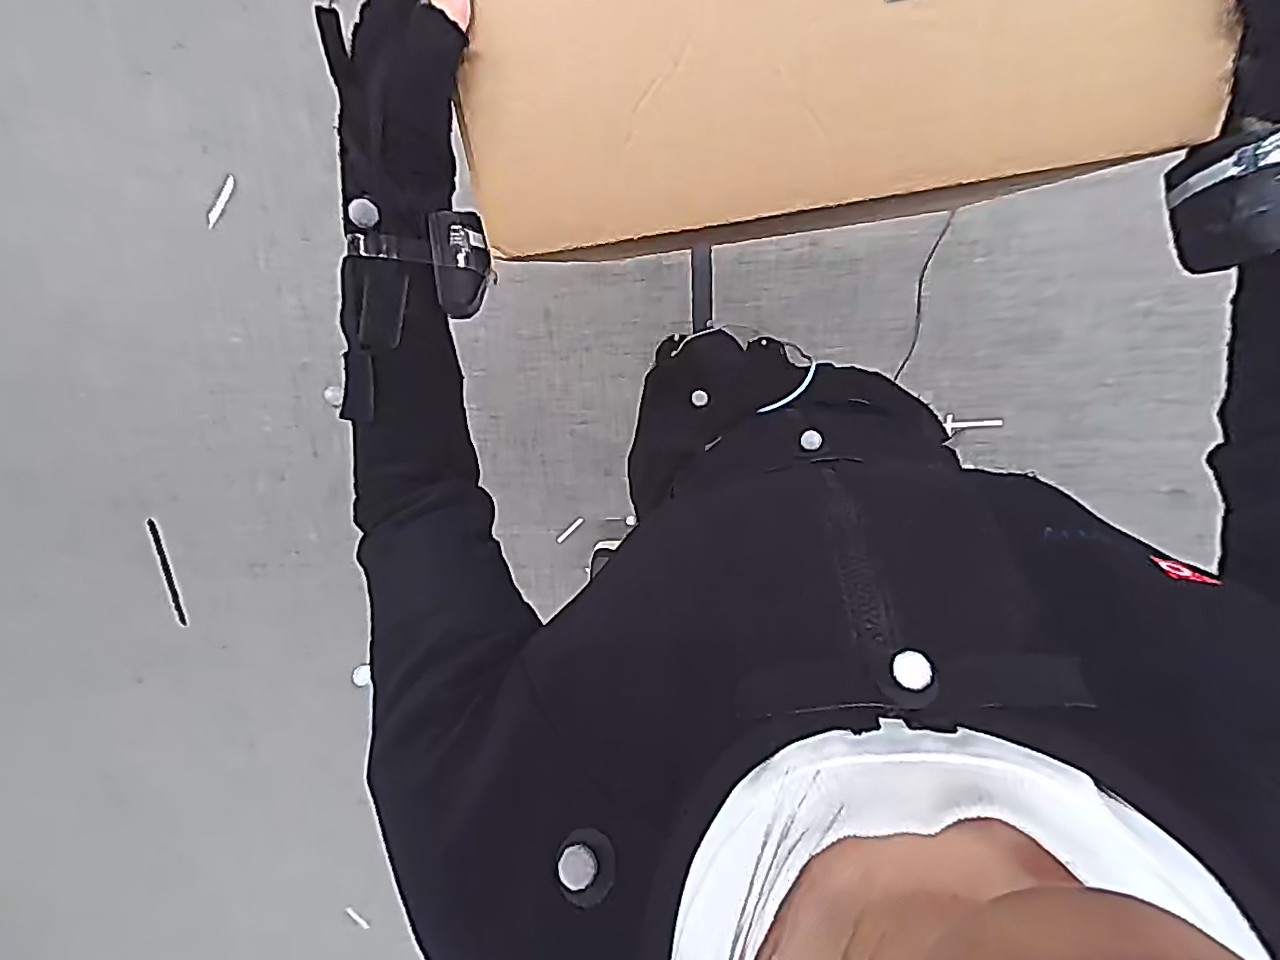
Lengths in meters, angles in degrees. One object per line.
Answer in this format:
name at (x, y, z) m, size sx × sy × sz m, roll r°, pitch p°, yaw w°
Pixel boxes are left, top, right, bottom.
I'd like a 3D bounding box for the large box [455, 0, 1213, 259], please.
large box at (0.100, -0.369, 0.414) m, size 0.408 × 0.320 × 0.320 m, roll -5°, pitch 111°, yaw 10°
